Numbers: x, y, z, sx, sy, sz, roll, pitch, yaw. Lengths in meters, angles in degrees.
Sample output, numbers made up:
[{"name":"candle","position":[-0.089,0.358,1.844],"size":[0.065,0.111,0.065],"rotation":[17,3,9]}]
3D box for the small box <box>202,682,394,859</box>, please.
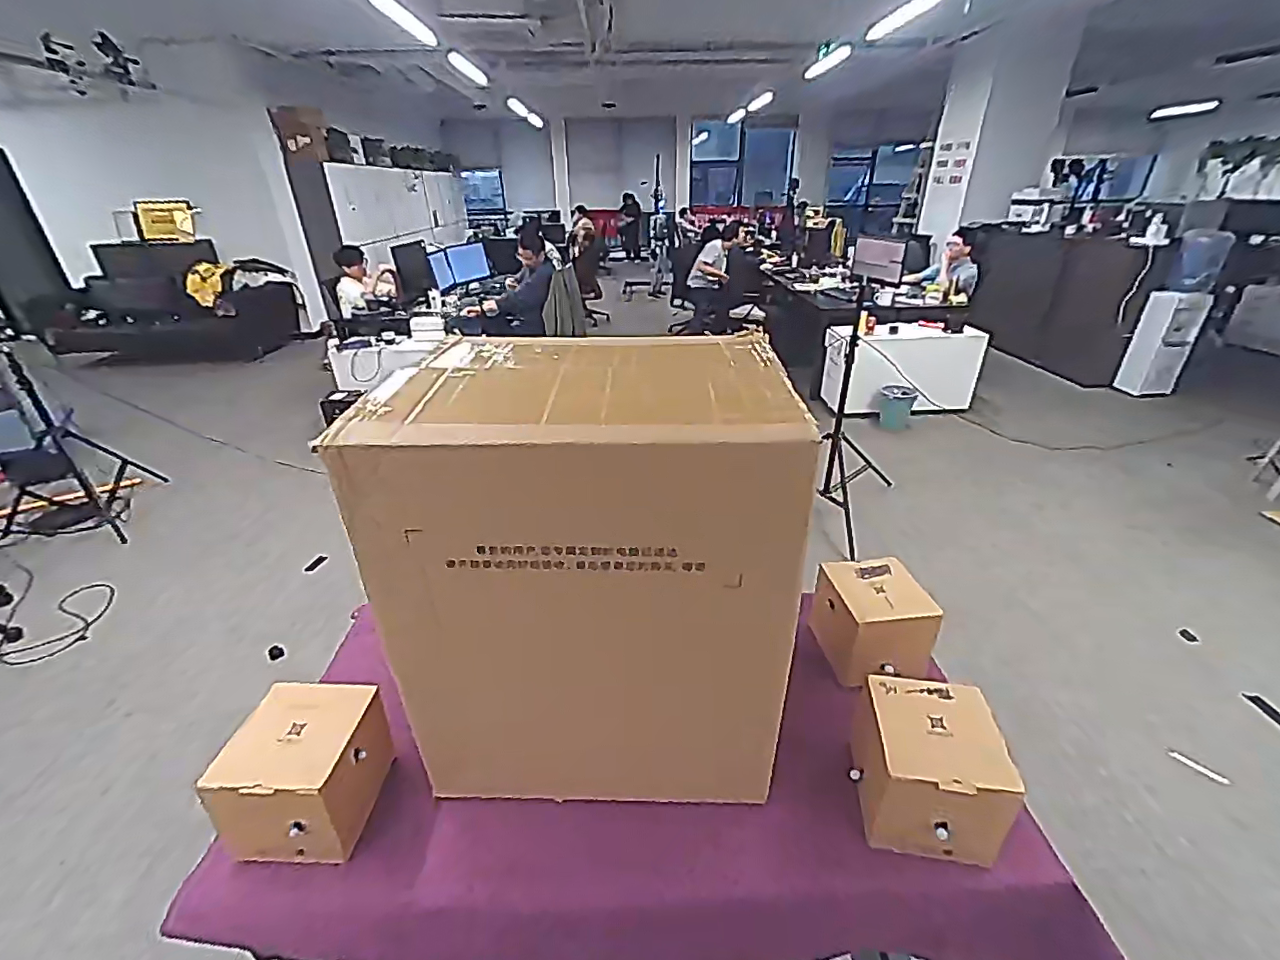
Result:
[{"name":"small box","position":[-0.490,0.432,0.811],"size":[0.168,0.176,0.179],"rotation":[2,26,0]}]
